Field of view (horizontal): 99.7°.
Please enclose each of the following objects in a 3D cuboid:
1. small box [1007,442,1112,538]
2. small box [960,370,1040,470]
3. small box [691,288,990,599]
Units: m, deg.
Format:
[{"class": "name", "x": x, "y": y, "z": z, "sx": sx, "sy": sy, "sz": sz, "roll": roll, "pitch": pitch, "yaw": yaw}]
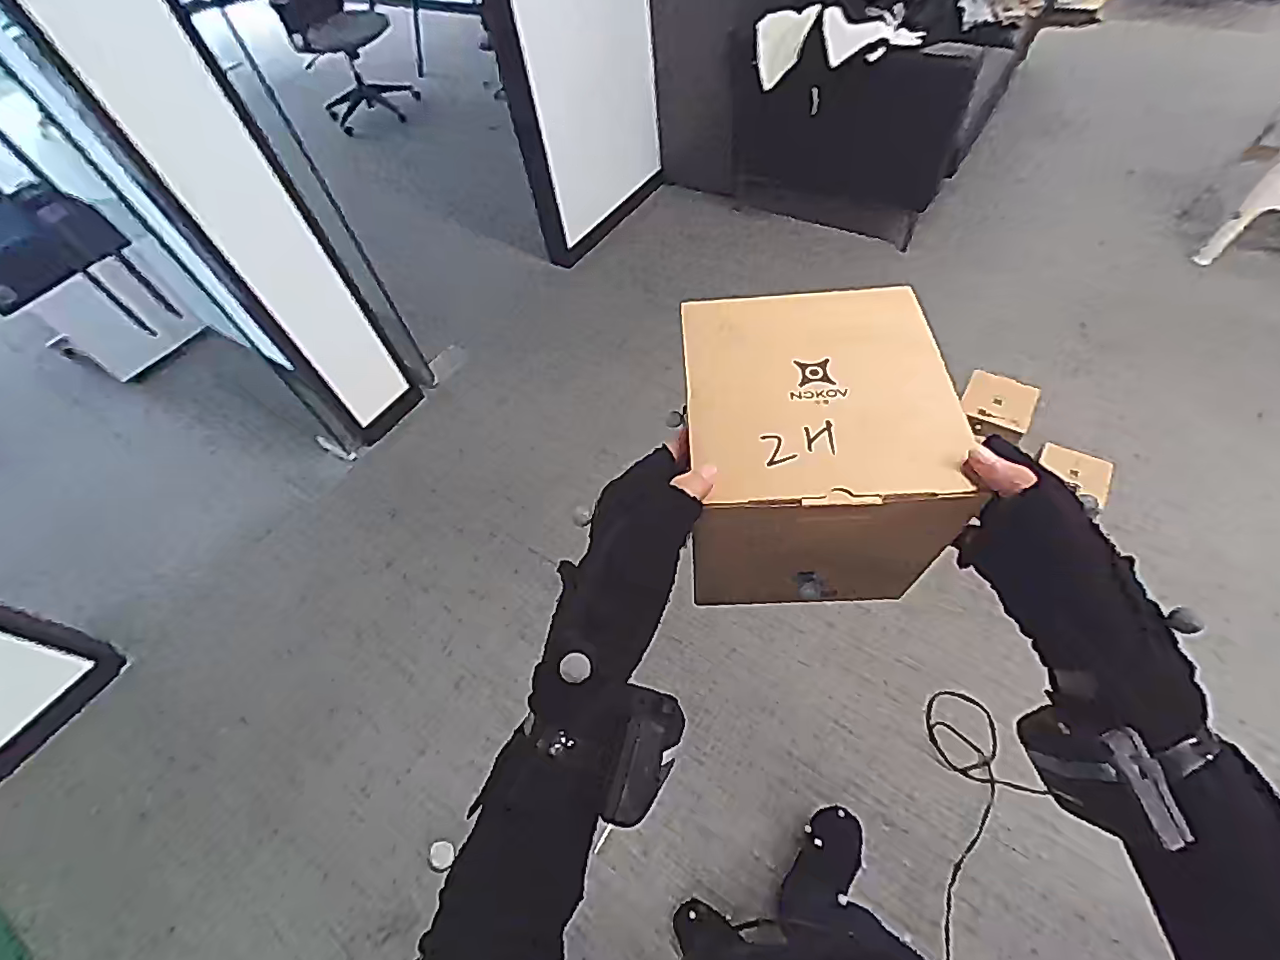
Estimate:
[{"class": "small box", "x": 1.162, "y": 0.032, "z": 1.508, "sx": 0.168, "sy": 0.176, "sz": 0.179, "roll": 25, "pitch": 61, "yaw": 23}, {"class": "small box", "x": 0.942, "y": -0.161, "z": 1.475, "sx": 0.168, "sy": 0.176, "sz": 0.179, "roll": 26, "pitch": 62, "yaw": 23}, {"class": "small box", "x": 0.123, "y": -0.021, "z": 0.419, "sx": 0.168, "sy": 0.176, "sz": 0.179, "roll": -2, "pitch": 57, "yaw": 5}]
